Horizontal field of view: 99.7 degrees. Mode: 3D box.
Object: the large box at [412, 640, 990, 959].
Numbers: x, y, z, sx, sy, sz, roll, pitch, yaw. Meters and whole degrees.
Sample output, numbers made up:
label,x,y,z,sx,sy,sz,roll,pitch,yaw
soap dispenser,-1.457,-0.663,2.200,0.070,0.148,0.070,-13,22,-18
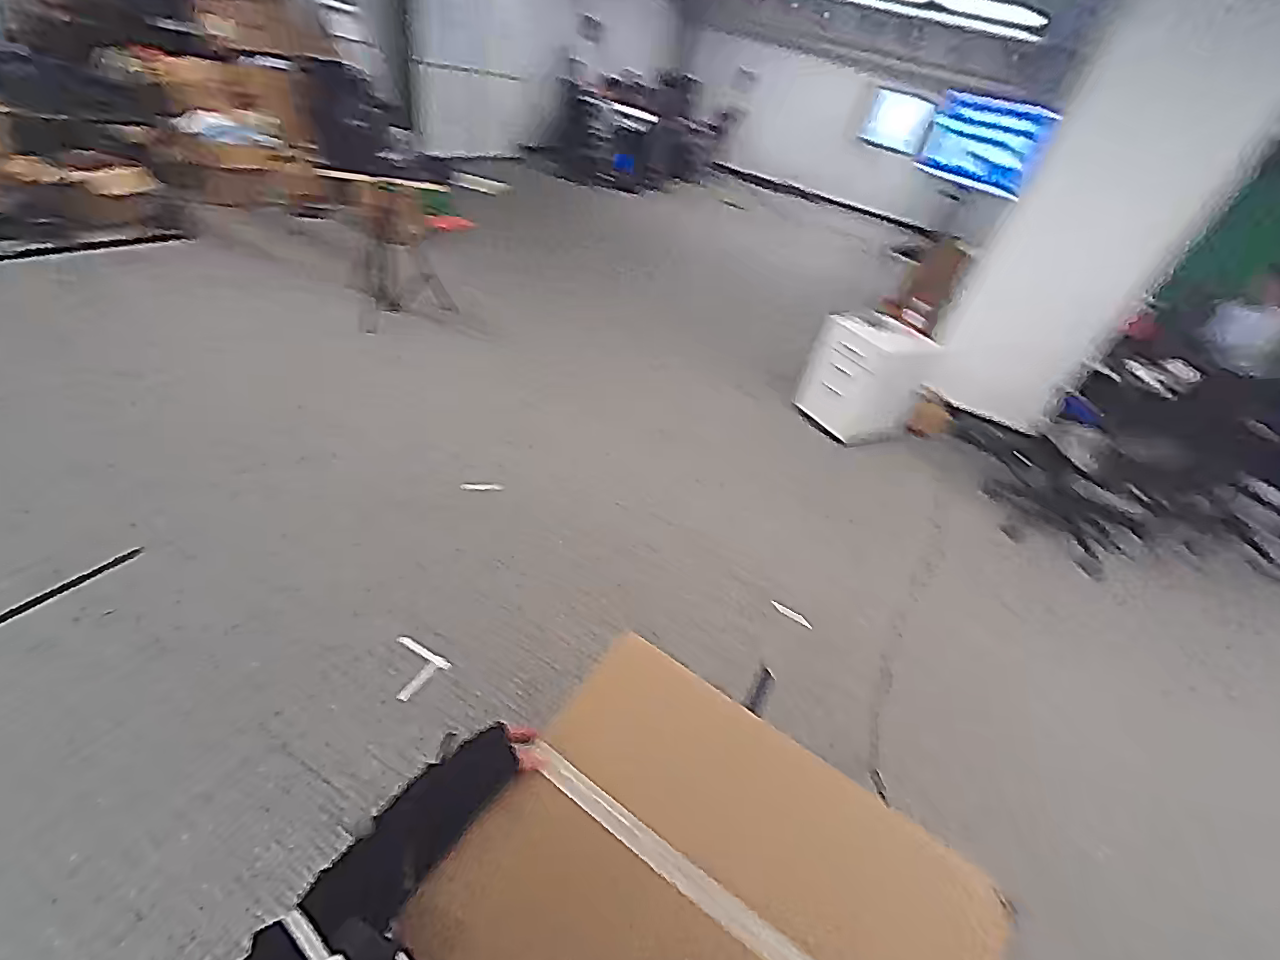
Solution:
label,x,y,z,sx,sy,sz,roll,pitch,yaw
large box,0.045,0.451,0.546,0.408,0.320,0.320,30,47,18
